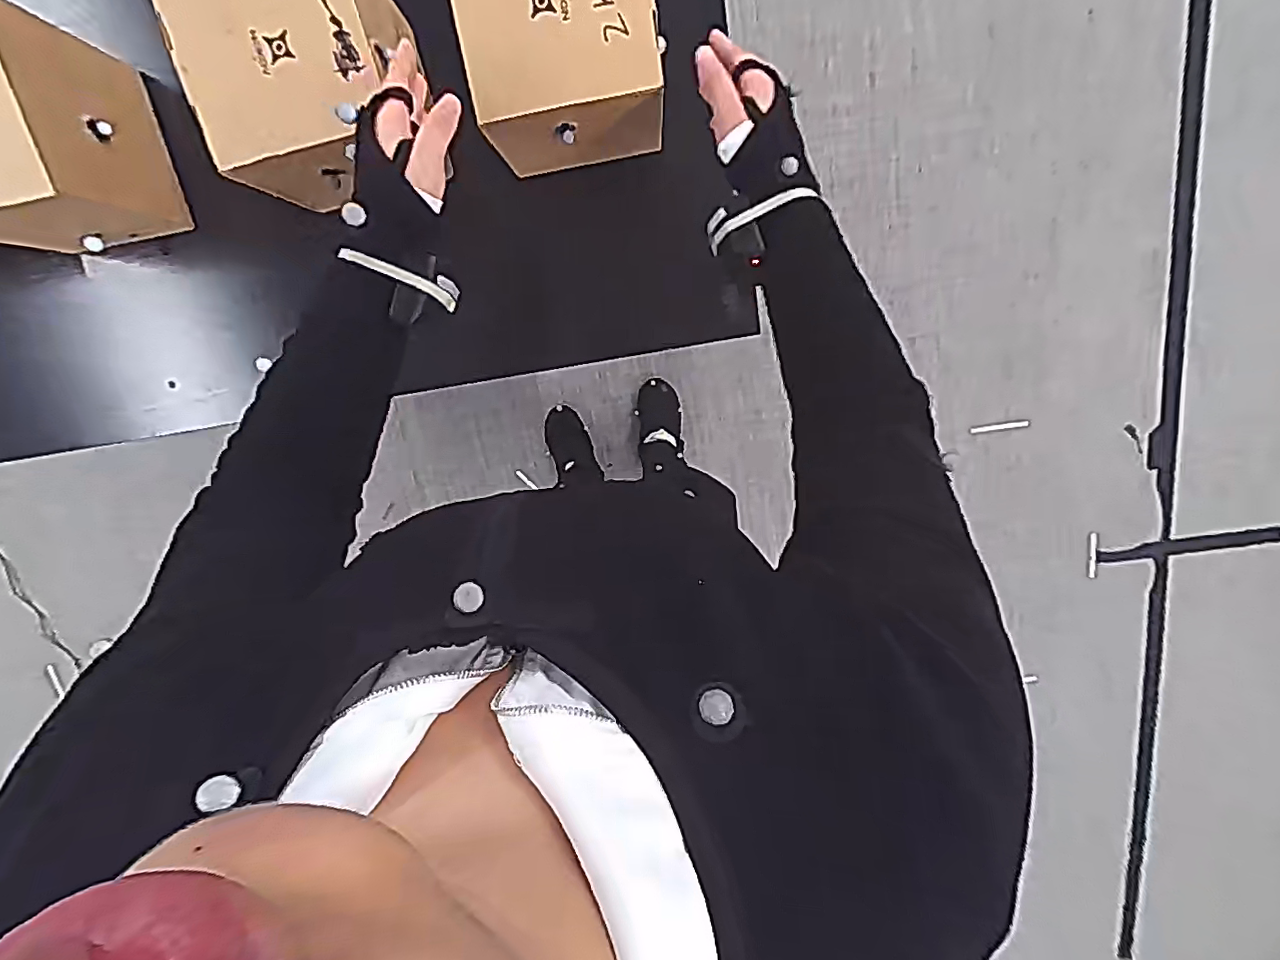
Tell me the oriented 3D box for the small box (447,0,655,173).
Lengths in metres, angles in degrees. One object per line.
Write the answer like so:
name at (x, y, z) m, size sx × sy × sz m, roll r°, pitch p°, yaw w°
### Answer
small box at (-0.081, -0.437, 0.552) m, size 0.179 × 0.176 × 0.168 m, roll -9°, pitch 105°, yaw 3°

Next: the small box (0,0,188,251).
small box at (-0.645, -0.359, 0.571) m, size 0.168 × 0.176 × 0.179 m, roll -10°, pitch 105°, yaw 3°

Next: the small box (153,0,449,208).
small box at (-0.330, -0.404, 0.561) m, size 0.179 × 0.176 × 0.168 m, roll -13°, pitch 104°, yaw 4°
